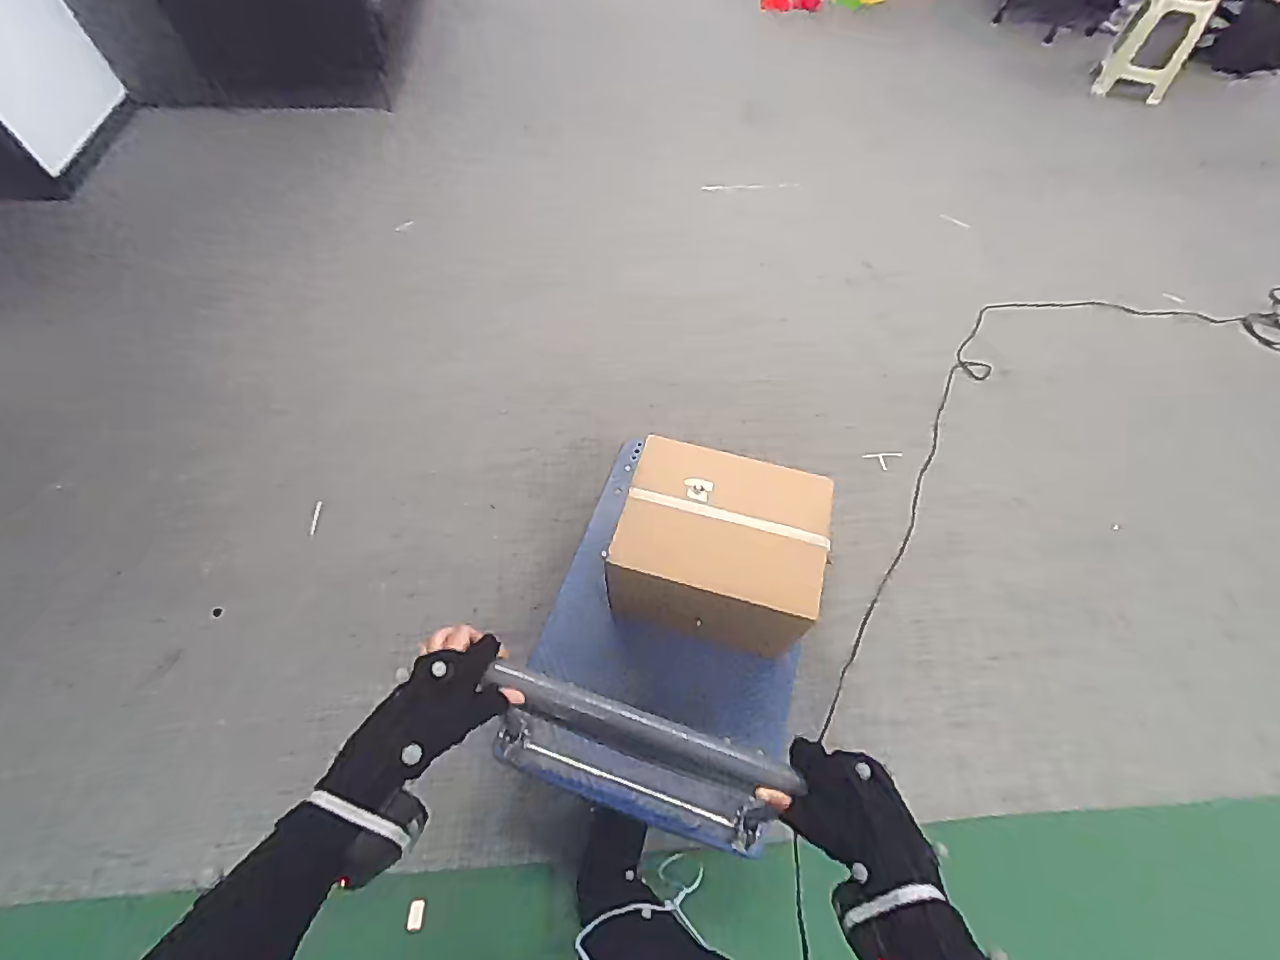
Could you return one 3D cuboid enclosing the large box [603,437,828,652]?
[{"bbox_3d":[0.164,0.151,1.202,0.408,0.320,0.320,14,59,9],"label":"large box"}]
